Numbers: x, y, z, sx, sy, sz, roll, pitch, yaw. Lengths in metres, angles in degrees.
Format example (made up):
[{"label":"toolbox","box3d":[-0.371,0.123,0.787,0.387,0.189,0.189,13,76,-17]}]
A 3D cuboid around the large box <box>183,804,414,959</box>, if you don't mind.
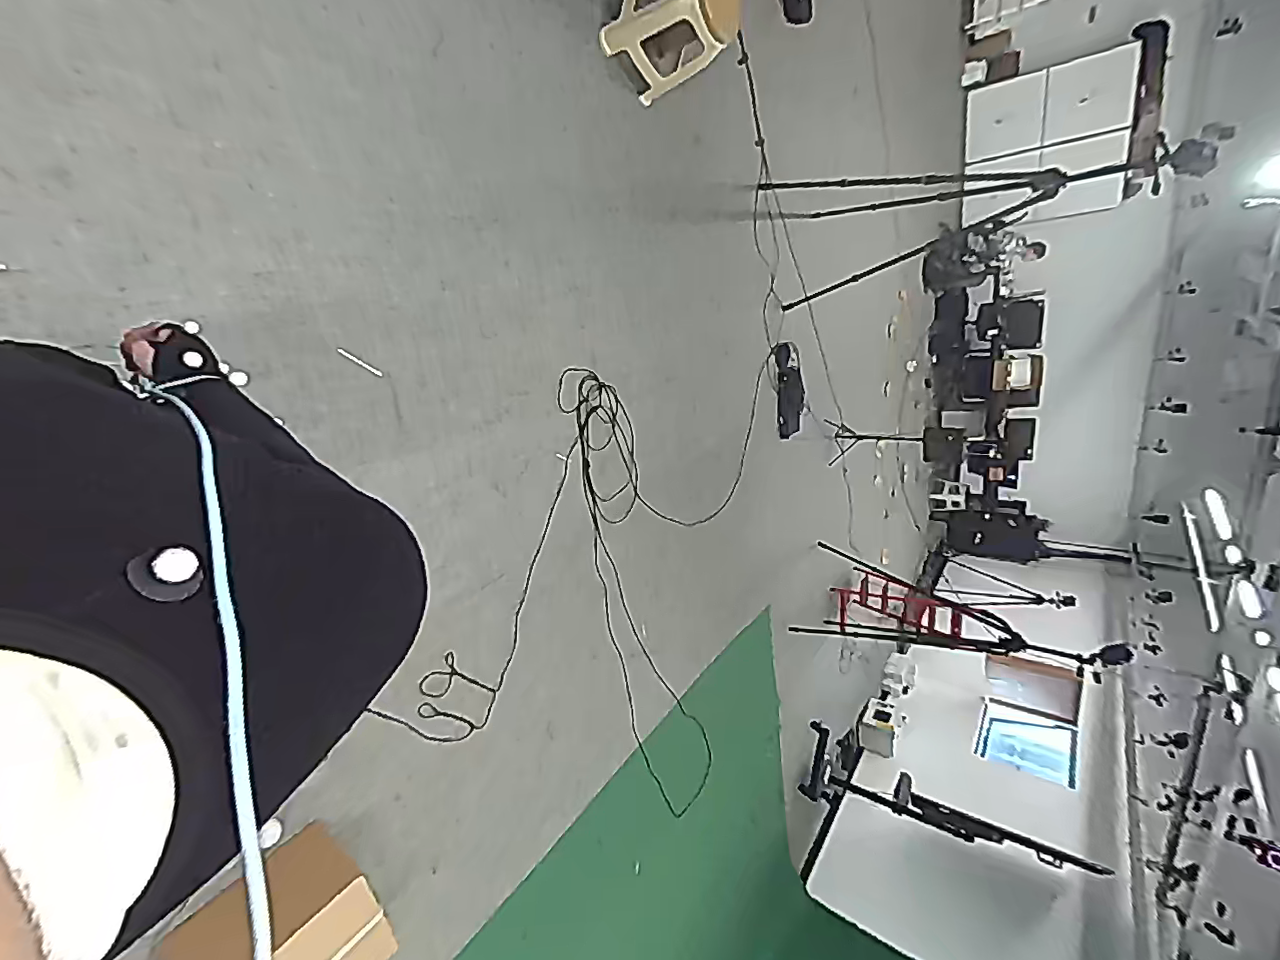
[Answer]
[{"label":"large box","box3d":[-0.918,1.214,1.480,0.408,0.320,0.320,-31,118,-43]}]
